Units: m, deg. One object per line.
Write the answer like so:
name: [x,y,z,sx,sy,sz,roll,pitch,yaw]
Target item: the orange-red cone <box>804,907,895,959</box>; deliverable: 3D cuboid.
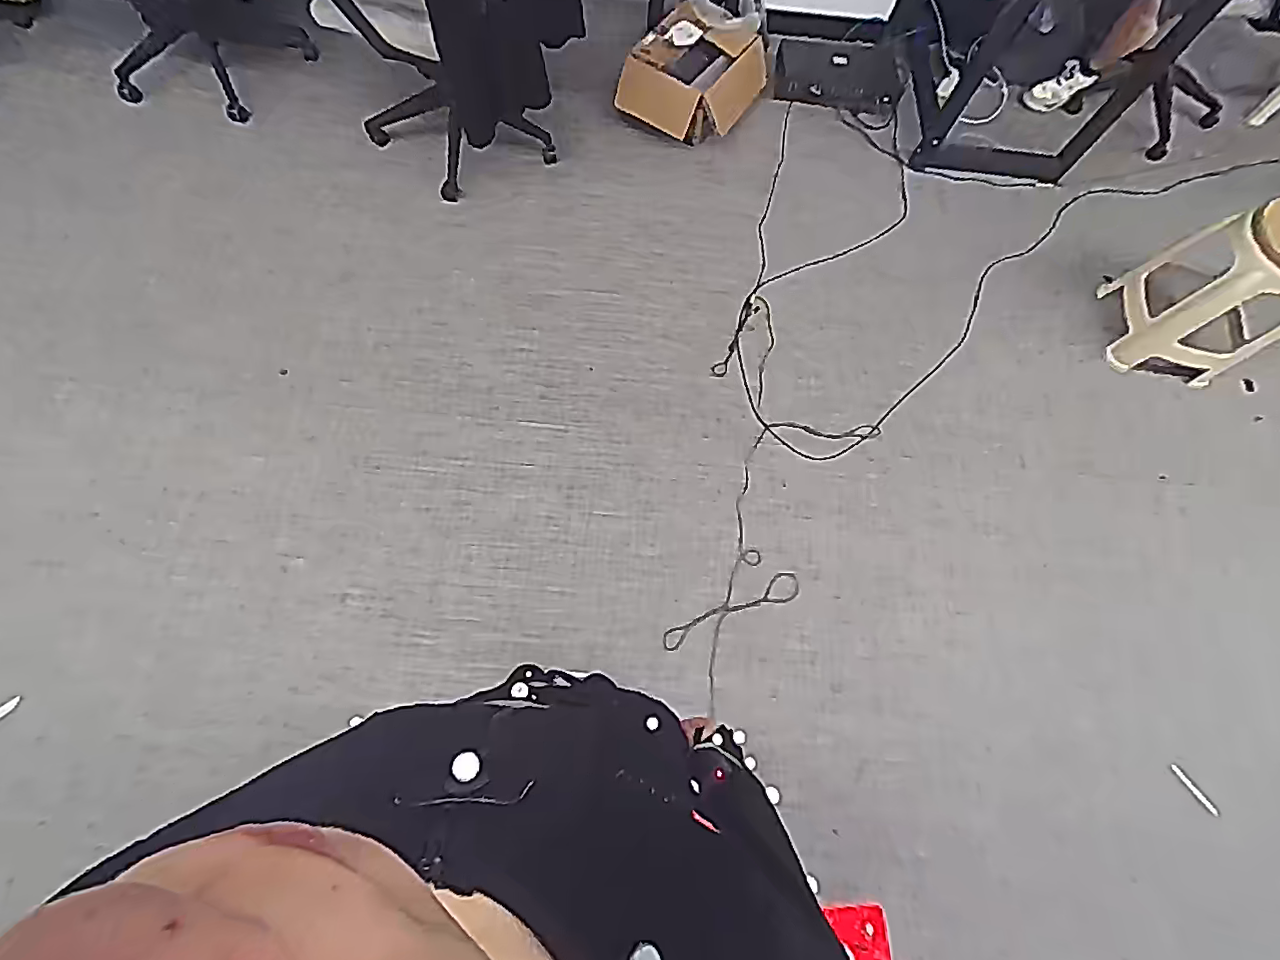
orange-red cone: [0.472,0.994,1.019,0.199,0.360,0.198,1,70,-3]
